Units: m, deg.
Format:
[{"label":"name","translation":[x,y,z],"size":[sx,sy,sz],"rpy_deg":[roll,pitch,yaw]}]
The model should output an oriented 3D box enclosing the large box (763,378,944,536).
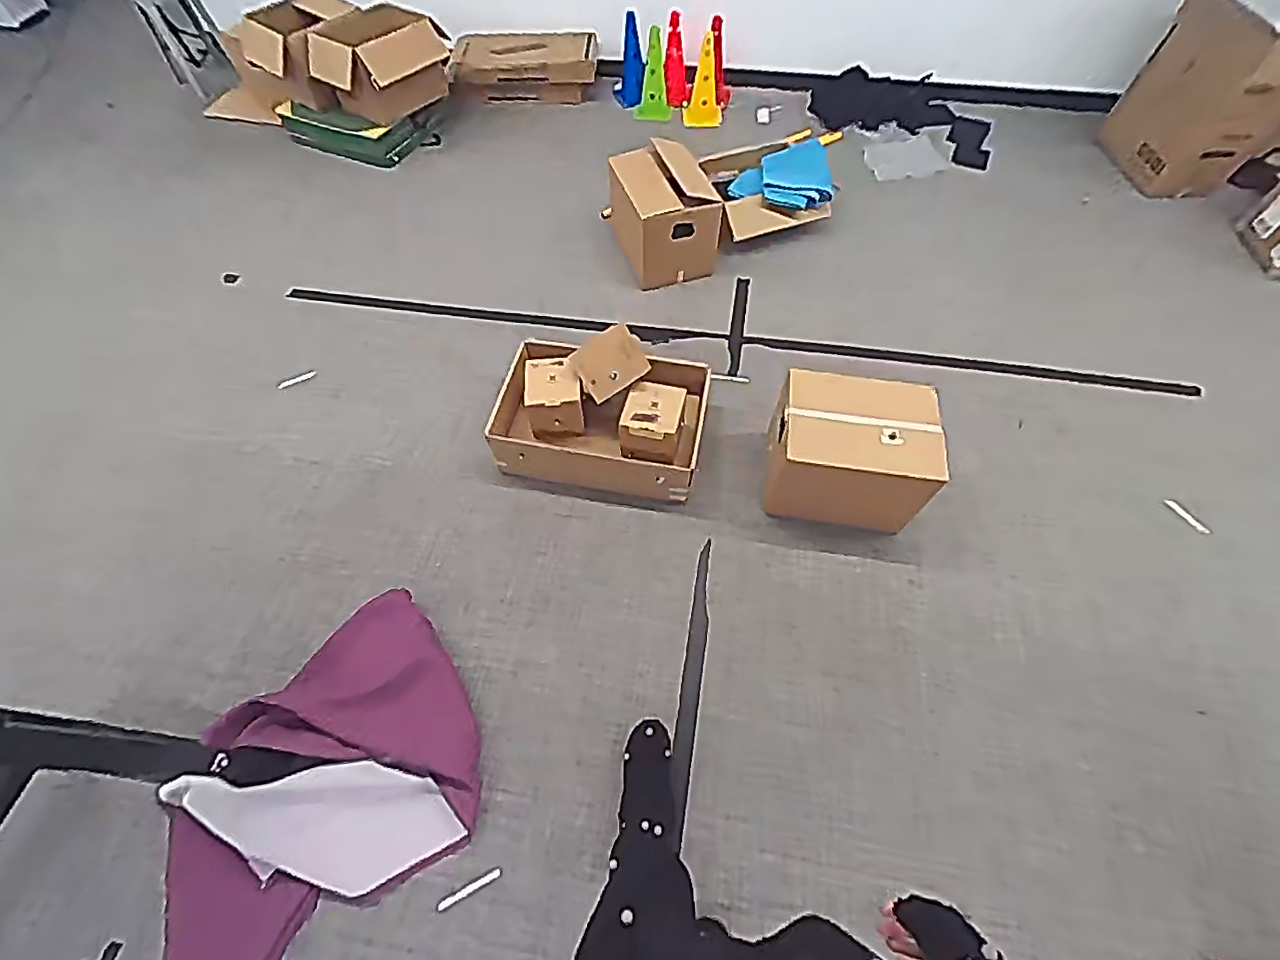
[{"label":"large box","translation":[0.586,-0.060,1.568],"size":[0.408,0.320,0.320],"rpy_deg":[8,60,4]}]
